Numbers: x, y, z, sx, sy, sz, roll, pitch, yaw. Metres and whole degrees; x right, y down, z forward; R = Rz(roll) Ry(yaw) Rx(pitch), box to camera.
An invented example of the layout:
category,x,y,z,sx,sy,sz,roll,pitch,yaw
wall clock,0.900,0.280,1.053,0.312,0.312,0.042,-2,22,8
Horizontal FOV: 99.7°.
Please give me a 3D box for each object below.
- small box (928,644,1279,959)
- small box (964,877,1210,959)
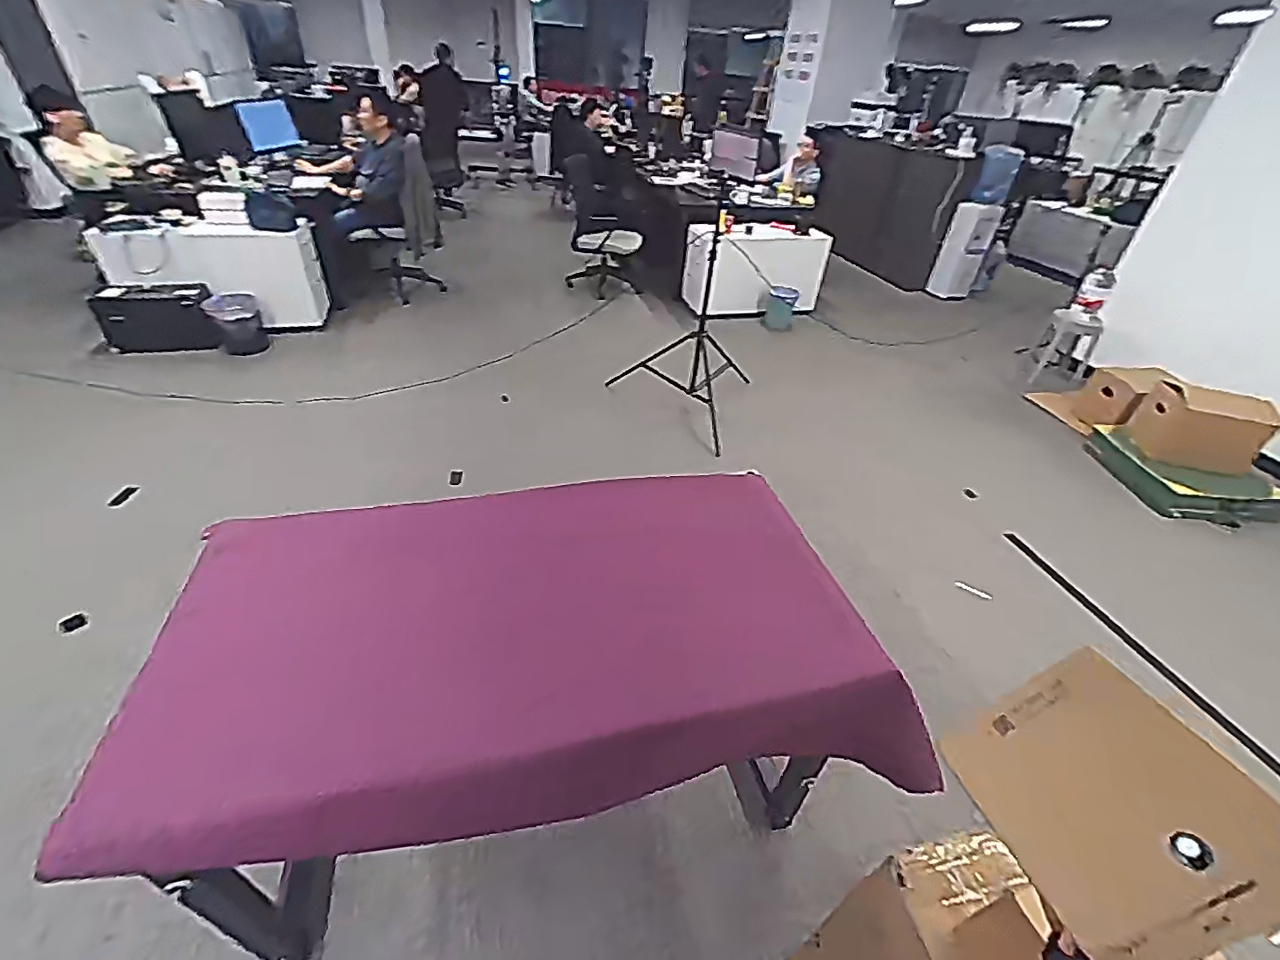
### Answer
category,x,y,z,sx,sy,sz,roll,pitch,yaw
small box,0.396,0.276,0.469,0.168,0.179,0.176,-41,30,10
small box,0.546,0.593,0.660,0.168,0.176,0.179,-10,41,-16
